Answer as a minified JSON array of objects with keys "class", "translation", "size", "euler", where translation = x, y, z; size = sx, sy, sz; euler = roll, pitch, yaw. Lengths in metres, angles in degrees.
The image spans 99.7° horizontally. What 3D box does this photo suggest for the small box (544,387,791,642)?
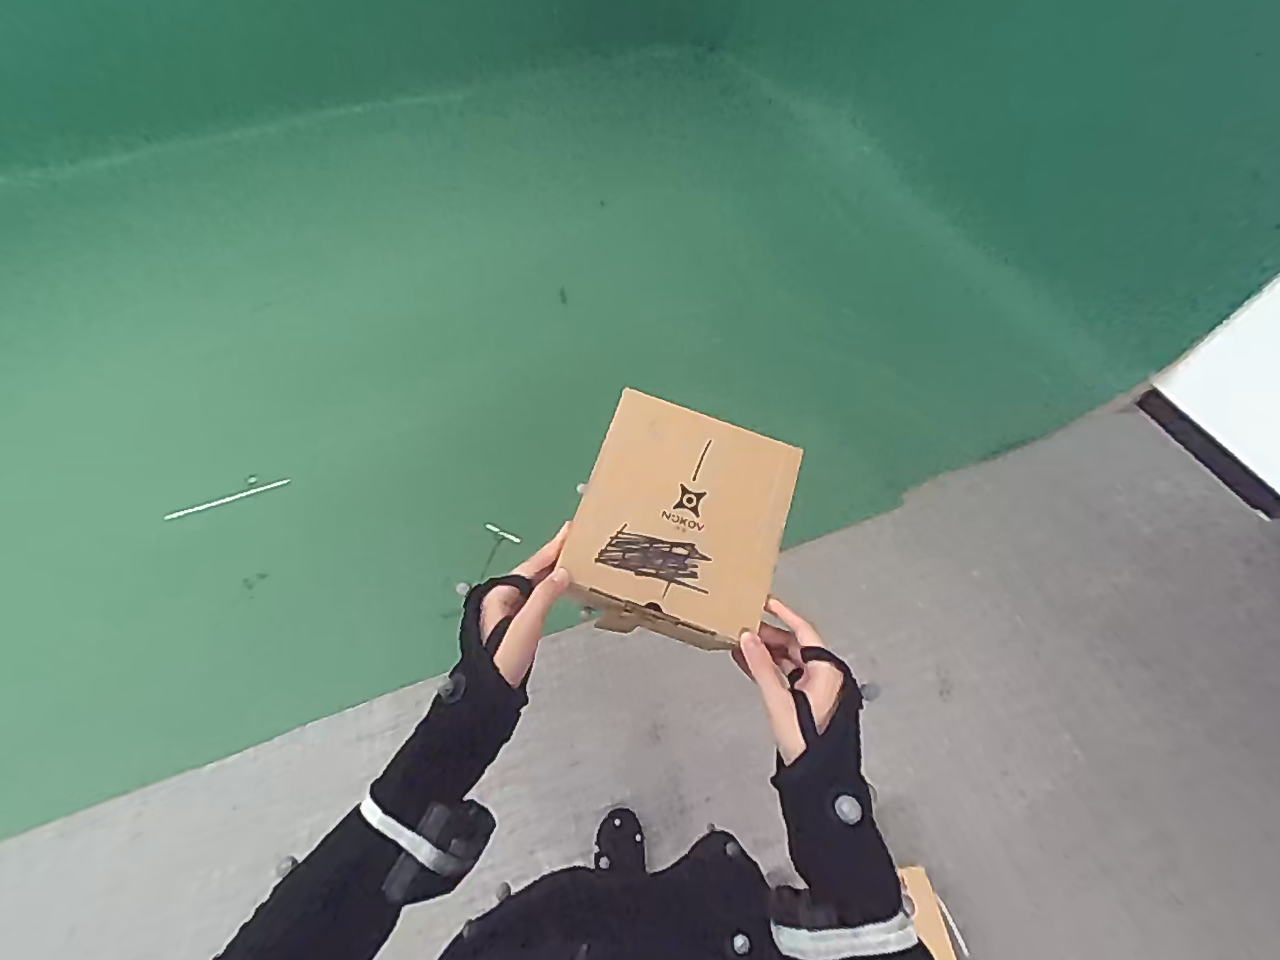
[{"class":"small box","translation":[0.021,0.046,0.518],"size":[0.168,0.176,0.179],"euler":[19,71,-1]}]
